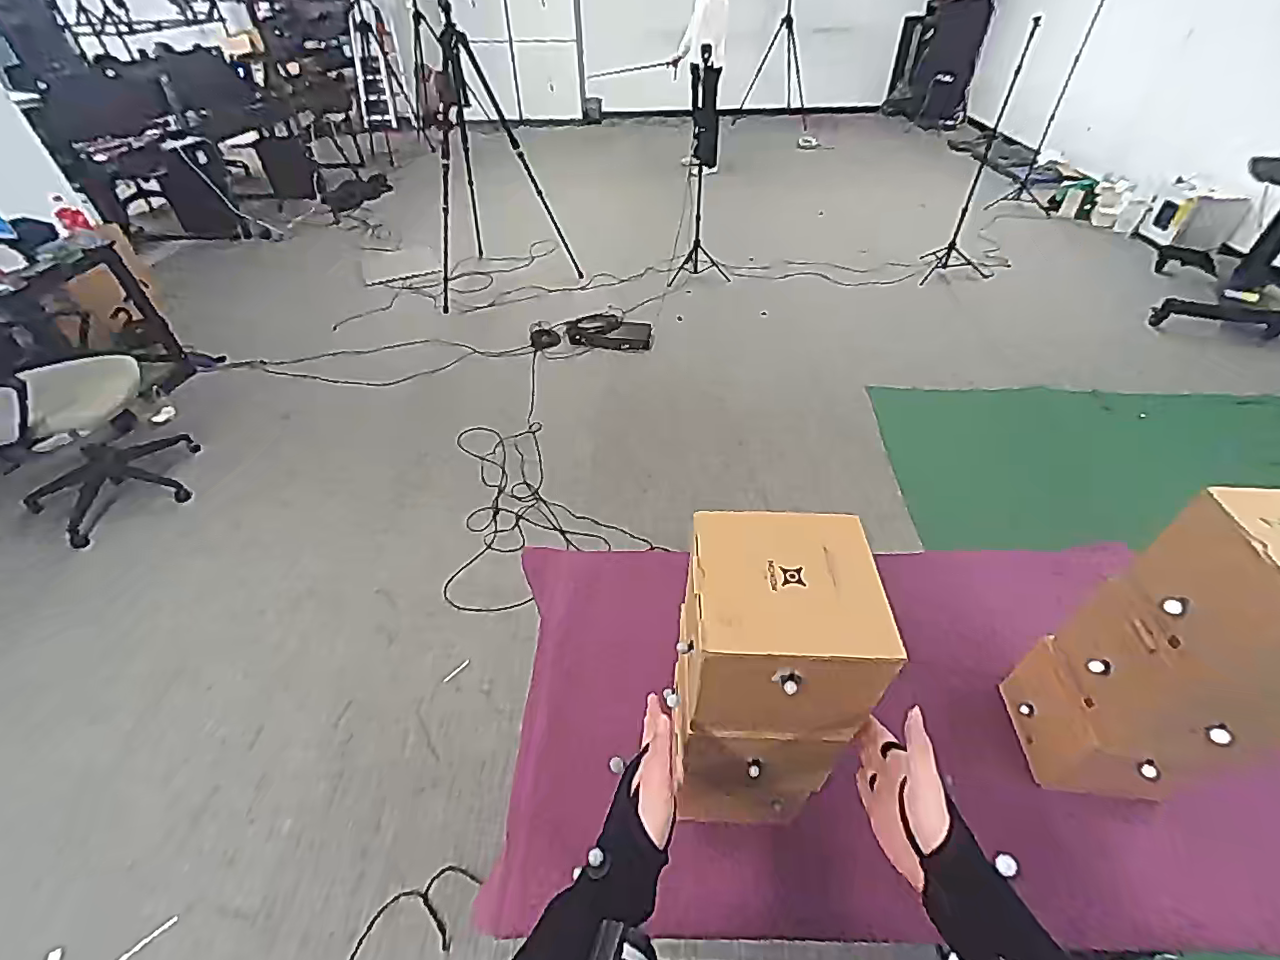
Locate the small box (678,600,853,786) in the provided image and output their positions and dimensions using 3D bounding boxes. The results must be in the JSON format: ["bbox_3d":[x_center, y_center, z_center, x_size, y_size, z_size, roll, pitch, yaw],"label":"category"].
[{"bbox_3d":[0.141,0.268,0.679,0.179,0.176,0.168,1,43,1],"label":"small box"}]

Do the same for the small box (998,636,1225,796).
[{"bbox_3d":[0.694,0.360,0.821,0.179,0.176,0.168,4,44,6],"label":"small box"}]

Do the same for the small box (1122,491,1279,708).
[{"bbox_3d":[0.694,0.133,0.582,0.179,0.176,0.168,4,43,6],"label":"small box"}]

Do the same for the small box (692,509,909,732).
[{"bbox_3d":[0.145,0.148,0.568,0.179,0.176,0.168,3,44,2],"label":"small box"}]
